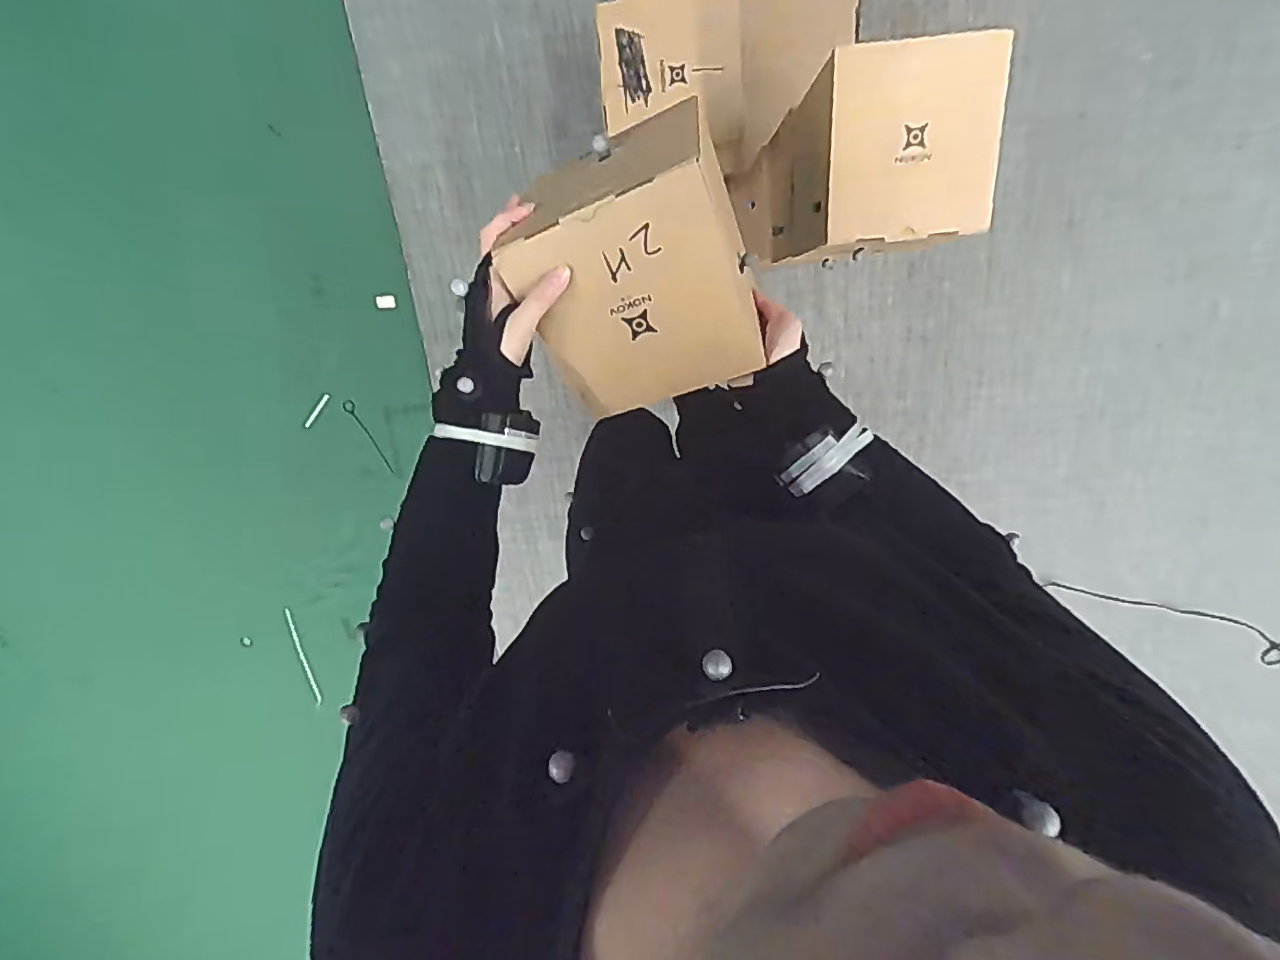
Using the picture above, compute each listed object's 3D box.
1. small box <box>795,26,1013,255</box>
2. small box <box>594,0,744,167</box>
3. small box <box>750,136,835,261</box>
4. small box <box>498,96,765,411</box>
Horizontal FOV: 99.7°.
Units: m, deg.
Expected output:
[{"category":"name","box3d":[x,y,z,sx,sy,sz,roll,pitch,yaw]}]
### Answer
[{"category":"small box","box3d":[0.275,-0.359,0.606,0.168,0.176,0.179,-3,108,4]},{"category":"small box","box3d":[0.045,-0.523,0.737,0.179,0.176,0.168,-4,108,6]},{"category":"small box","box3d":[0.287,-0.470,0.914,0.179,0.176,0.168,-5,107,6]},{"category":"small box","box3d":[0.006,-0.196,0.482,0.168,0.176,0.179,-15,133,19]}]
